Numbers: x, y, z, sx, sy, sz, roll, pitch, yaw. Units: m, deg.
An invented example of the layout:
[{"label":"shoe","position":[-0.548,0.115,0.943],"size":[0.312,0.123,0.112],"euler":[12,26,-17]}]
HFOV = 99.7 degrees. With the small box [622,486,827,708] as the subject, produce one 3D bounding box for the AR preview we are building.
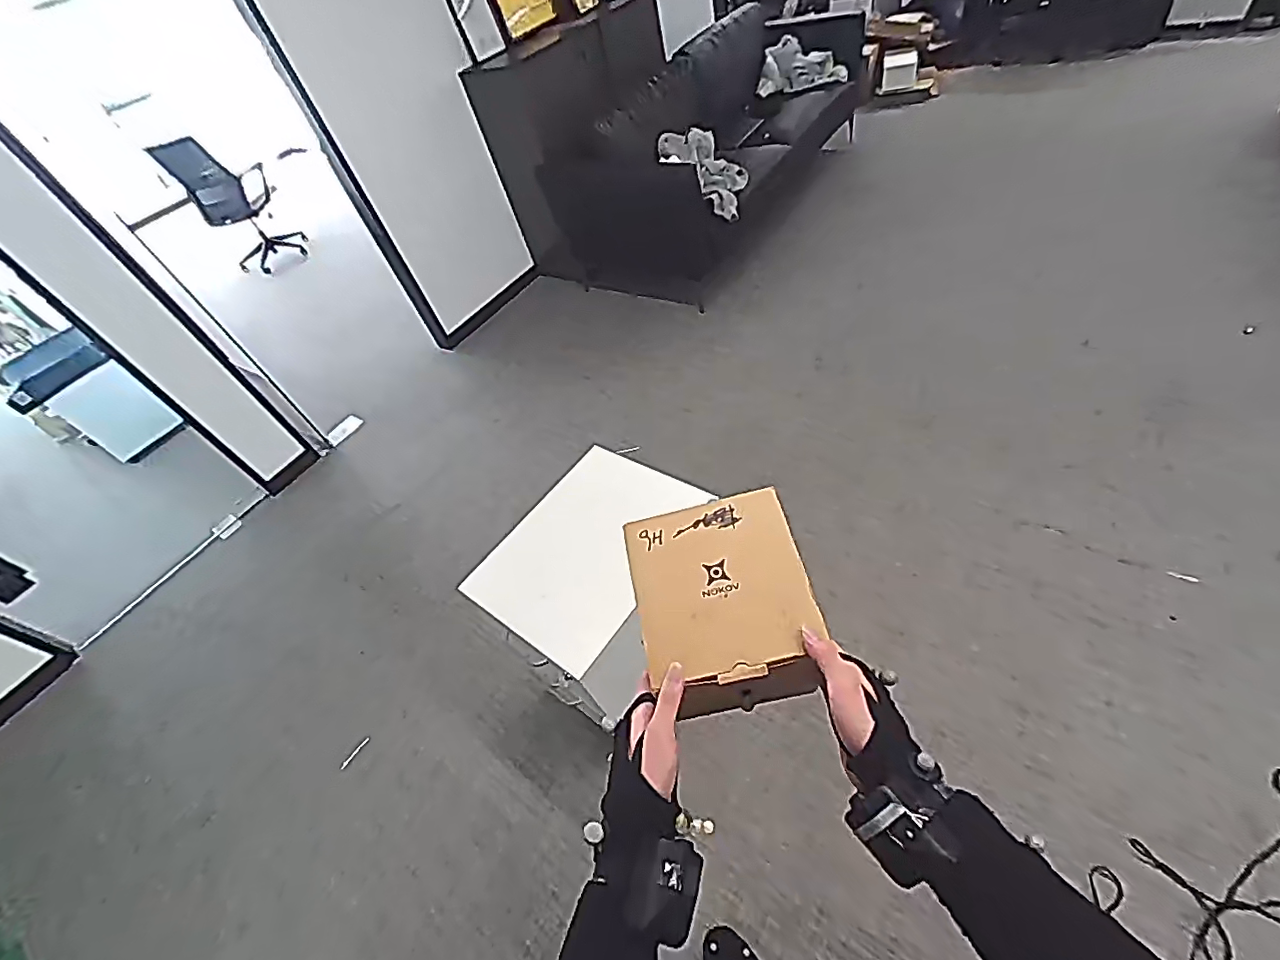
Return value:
[{"label":"small box","position":[0.091,0.139,0.595],"size":[0.168,0.176,0.179],"euler":[-16,56,3]}]
